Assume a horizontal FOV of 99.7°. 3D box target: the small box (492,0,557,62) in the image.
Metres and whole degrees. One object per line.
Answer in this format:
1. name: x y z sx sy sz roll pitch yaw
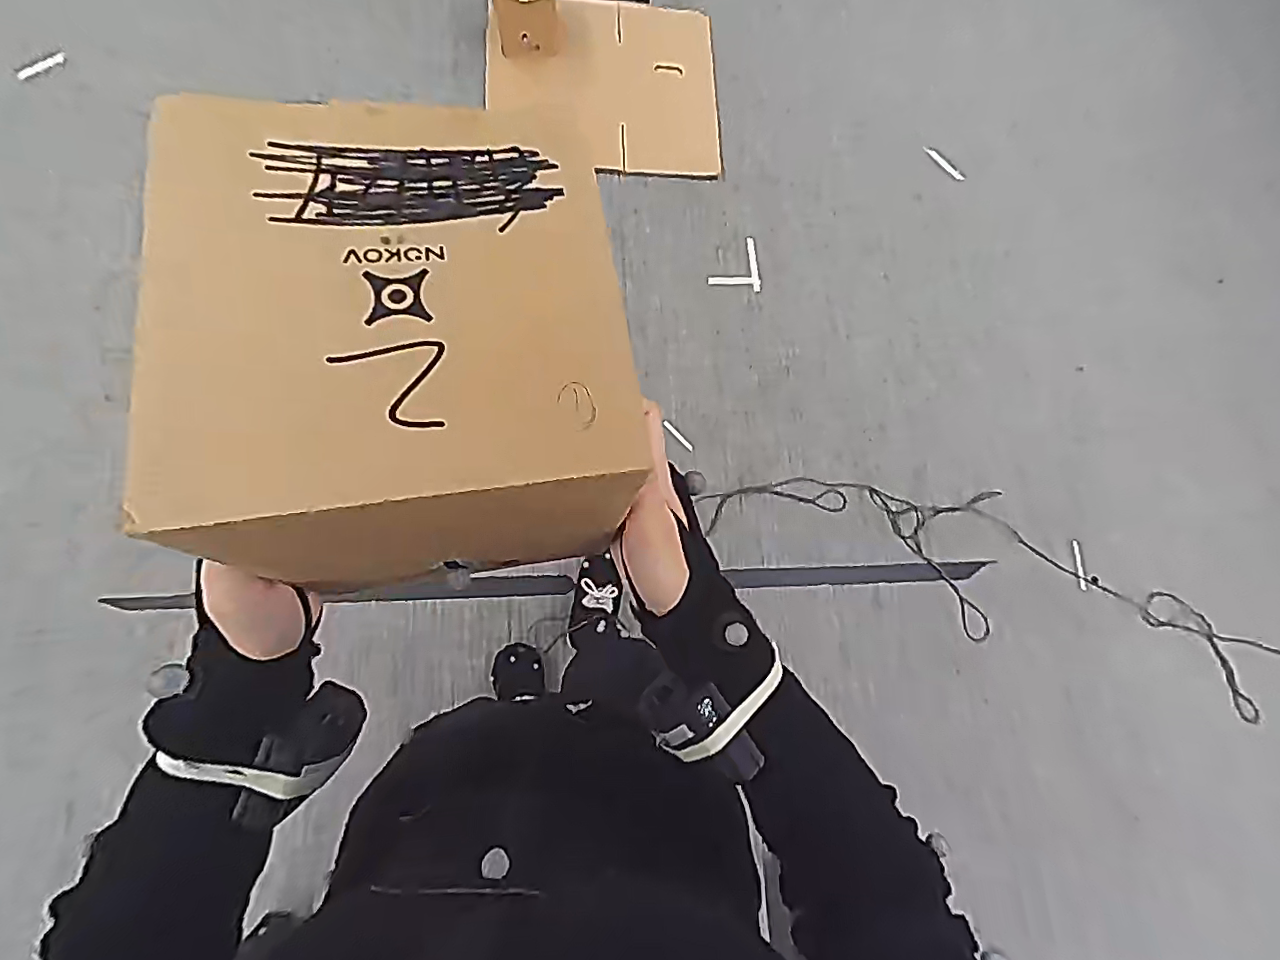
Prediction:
1. small box: -0.339 -1.367 1.570 0.168 0.176 0.179 -11 80 -9
